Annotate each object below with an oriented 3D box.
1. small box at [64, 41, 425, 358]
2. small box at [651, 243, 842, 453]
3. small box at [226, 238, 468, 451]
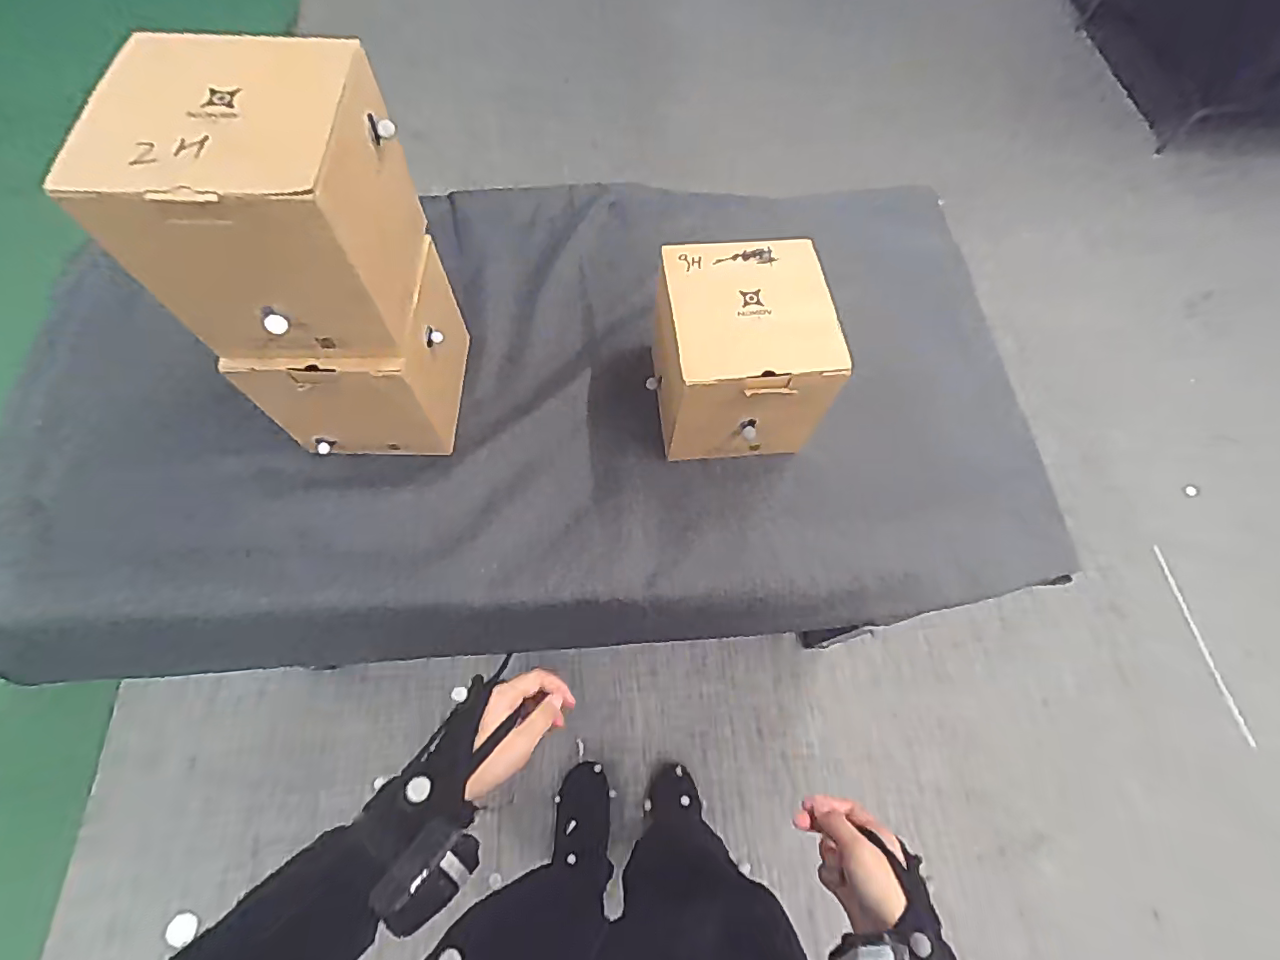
[{"bbox_3d":[-0.295,-0.226,0.458,0.168,0.176,0.179,-1,66,-3],"label":"small box"},{"bbox_3d":[0.105,-0.140,0.621,0.168,0.176,0.179,-4,66,-5],"label":"small box"},{"bbox_3d":[-0.300,-0.143,0.601,0.168,0.176,0.179,1,65,-3],"label":"small box"}]
